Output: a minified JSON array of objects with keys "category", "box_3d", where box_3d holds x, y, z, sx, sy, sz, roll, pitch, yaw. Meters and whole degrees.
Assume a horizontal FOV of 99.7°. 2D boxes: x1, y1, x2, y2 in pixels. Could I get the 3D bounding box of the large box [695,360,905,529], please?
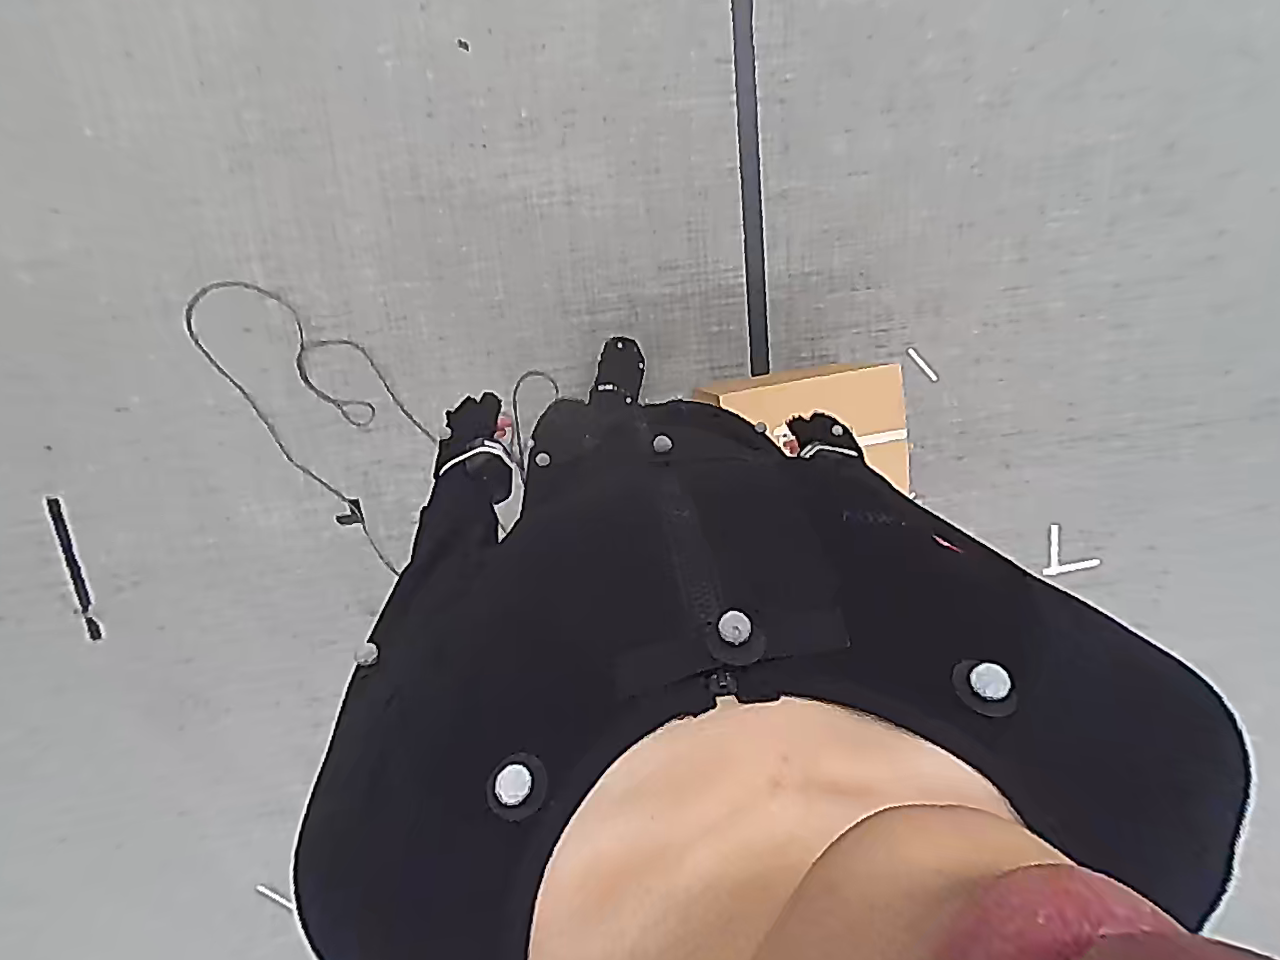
[{"category":"large box","box_3d":[0.376,-0.107,1.341,0.408,0.320,0.320,-11,102,-1]}]
